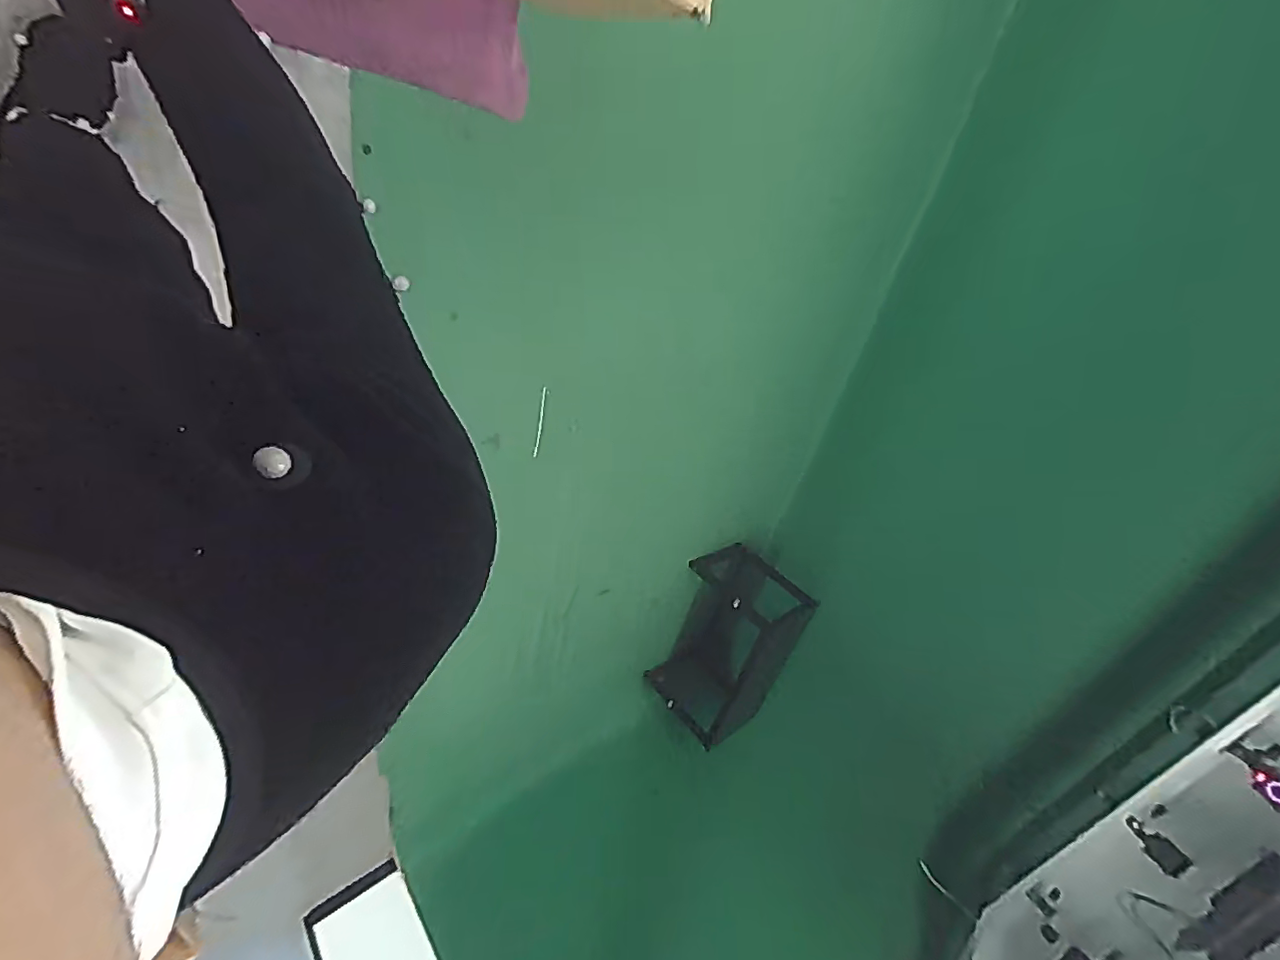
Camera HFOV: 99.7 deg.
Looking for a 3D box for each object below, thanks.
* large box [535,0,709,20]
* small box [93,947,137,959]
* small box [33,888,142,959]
[{"bbox_3d":[-0.090,-0.723,0.485,0.320,0.320,0.408,-14,132,-40],"label":"large box"},{"bbox_3d":[-1.351,1.314,1.333,0.168,0.176,0.179,-20,136,-39],"label":"small box"},{"bbox_3d":[-1.459,1.235,1.430,0.168,0.176,0.179,-18,136,-39],"label":"small box"}]
